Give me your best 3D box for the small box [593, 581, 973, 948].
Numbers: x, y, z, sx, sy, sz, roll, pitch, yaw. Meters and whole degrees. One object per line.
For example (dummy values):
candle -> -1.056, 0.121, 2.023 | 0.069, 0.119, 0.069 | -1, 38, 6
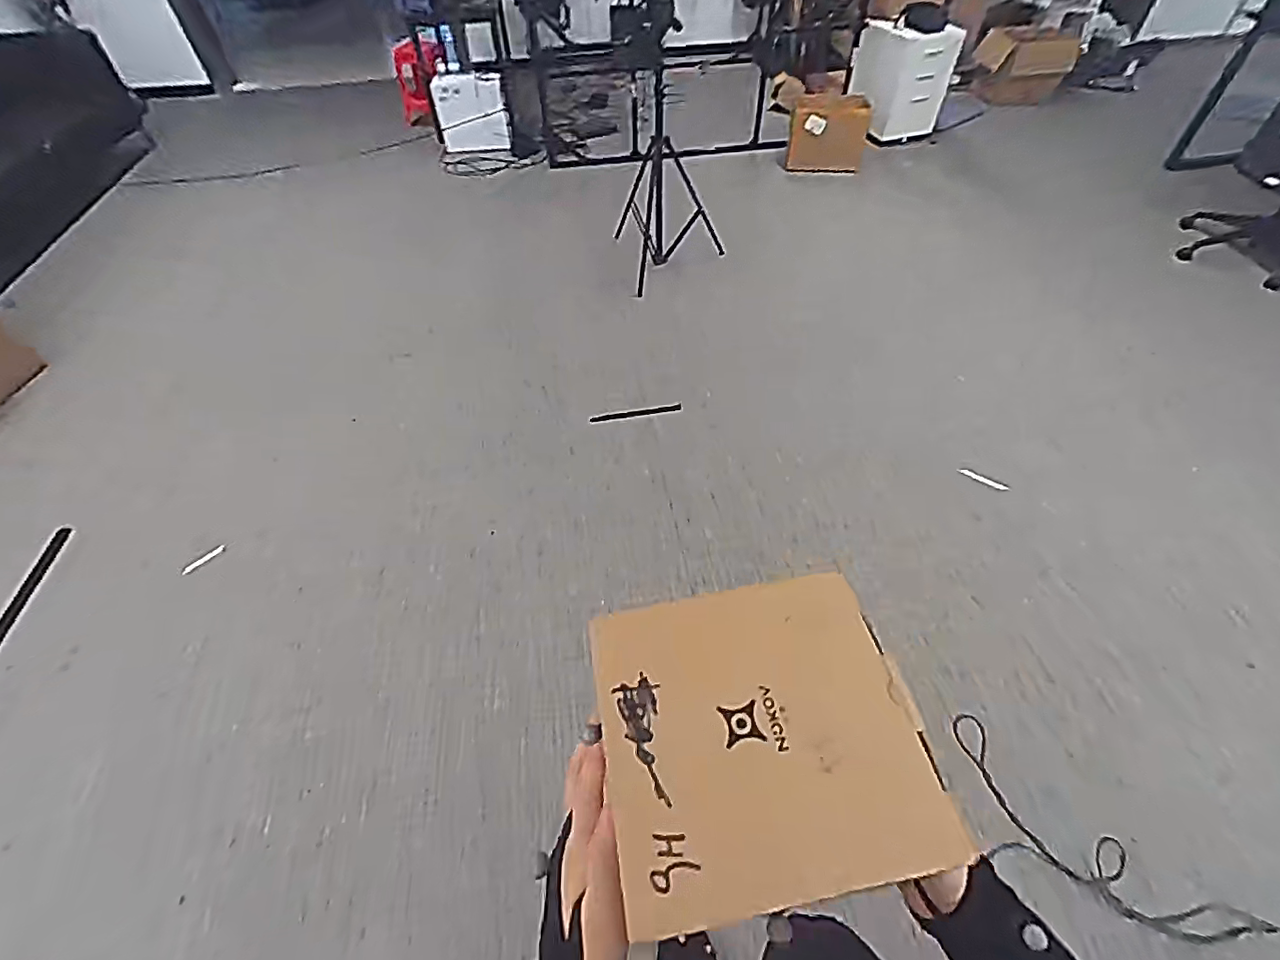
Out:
small box -> 0.068, 0.191, 0.366 | 0.179, 0.176, 0.168 | -8, 49, -5
